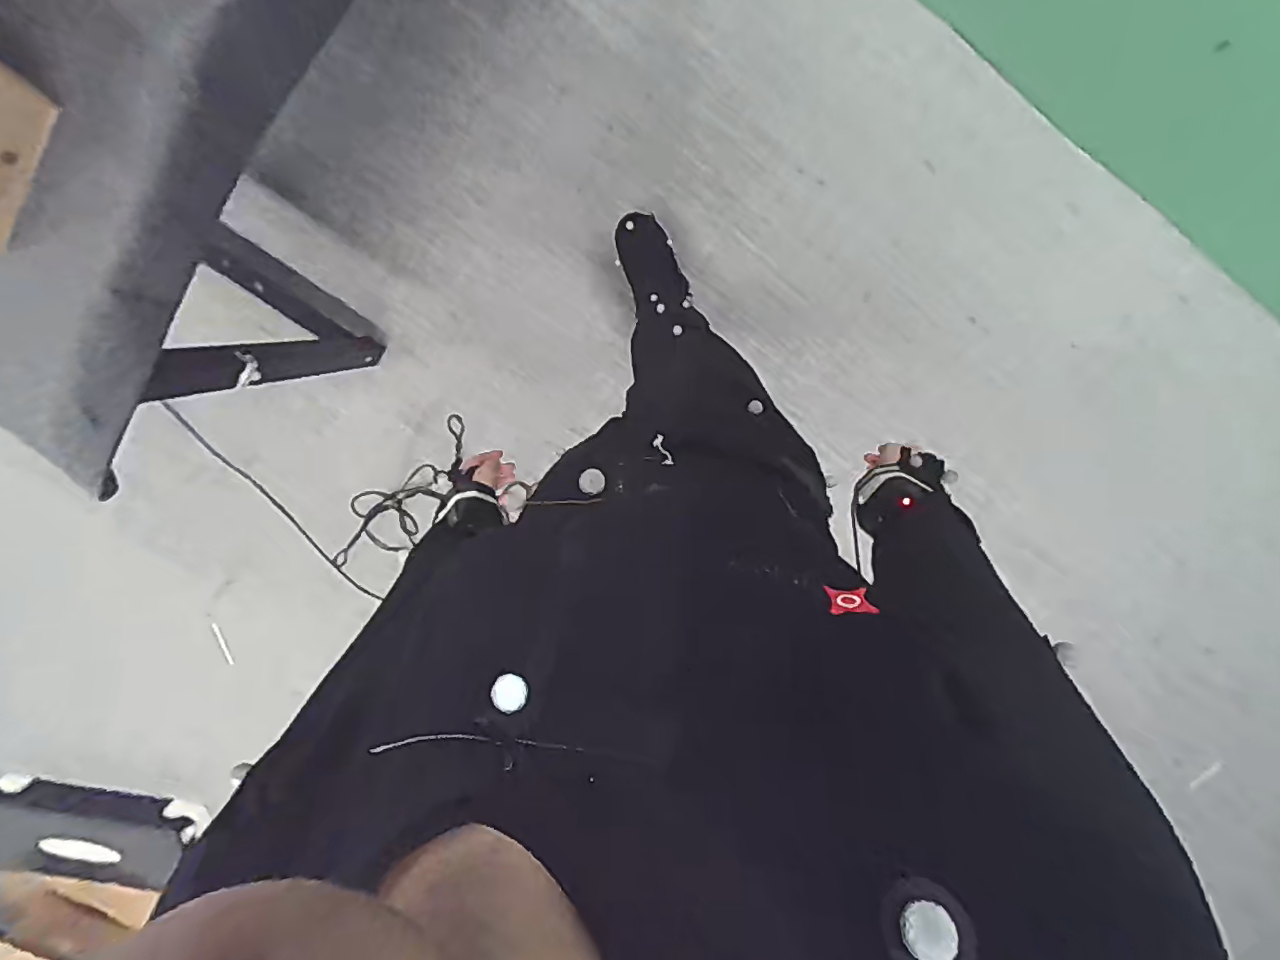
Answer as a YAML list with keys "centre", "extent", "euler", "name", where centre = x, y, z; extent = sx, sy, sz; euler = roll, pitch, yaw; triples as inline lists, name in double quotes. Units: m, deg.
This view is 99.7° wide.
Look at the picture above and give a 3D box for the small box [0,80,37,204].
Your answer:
- centre: [-0.667, -0.309, 0.430]
  extent: [0.179, 0.176, 0.168]
  euler: [37, 103, -7]
  name: "small box"
